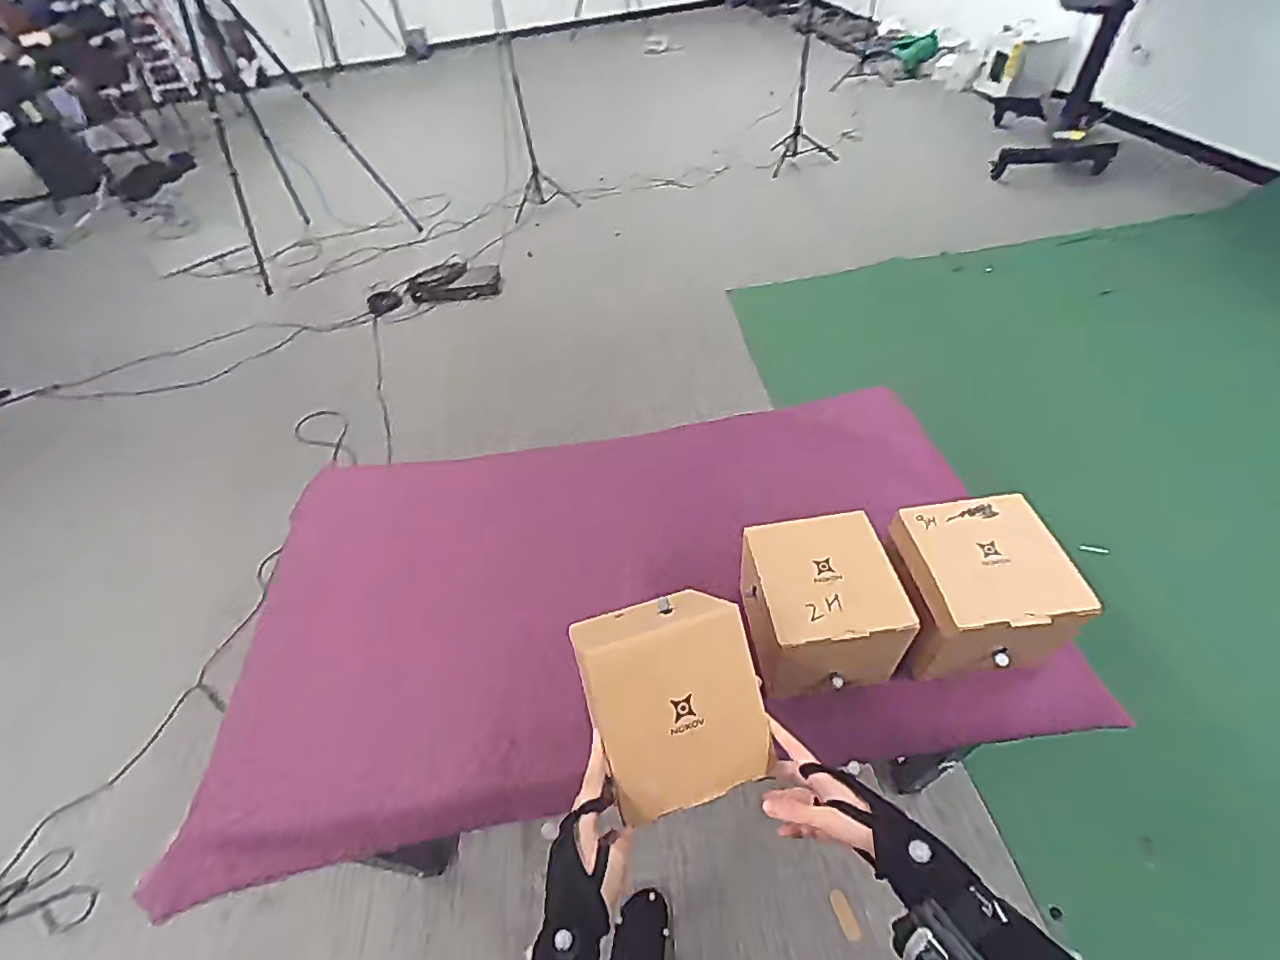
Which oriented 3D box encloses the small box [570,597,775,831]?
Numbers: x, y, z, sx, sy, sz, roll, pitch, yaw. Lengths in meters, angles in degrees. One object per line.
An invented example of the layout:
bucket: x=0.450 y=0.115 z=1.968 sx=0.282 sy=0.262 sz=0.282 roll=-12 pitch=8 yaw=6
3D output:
small box: x=0.023 y=0.238 z=0.607 sx=0.168 sy=0.176 sz=0.179 roll=-14 pitch=89 yaw=-12
